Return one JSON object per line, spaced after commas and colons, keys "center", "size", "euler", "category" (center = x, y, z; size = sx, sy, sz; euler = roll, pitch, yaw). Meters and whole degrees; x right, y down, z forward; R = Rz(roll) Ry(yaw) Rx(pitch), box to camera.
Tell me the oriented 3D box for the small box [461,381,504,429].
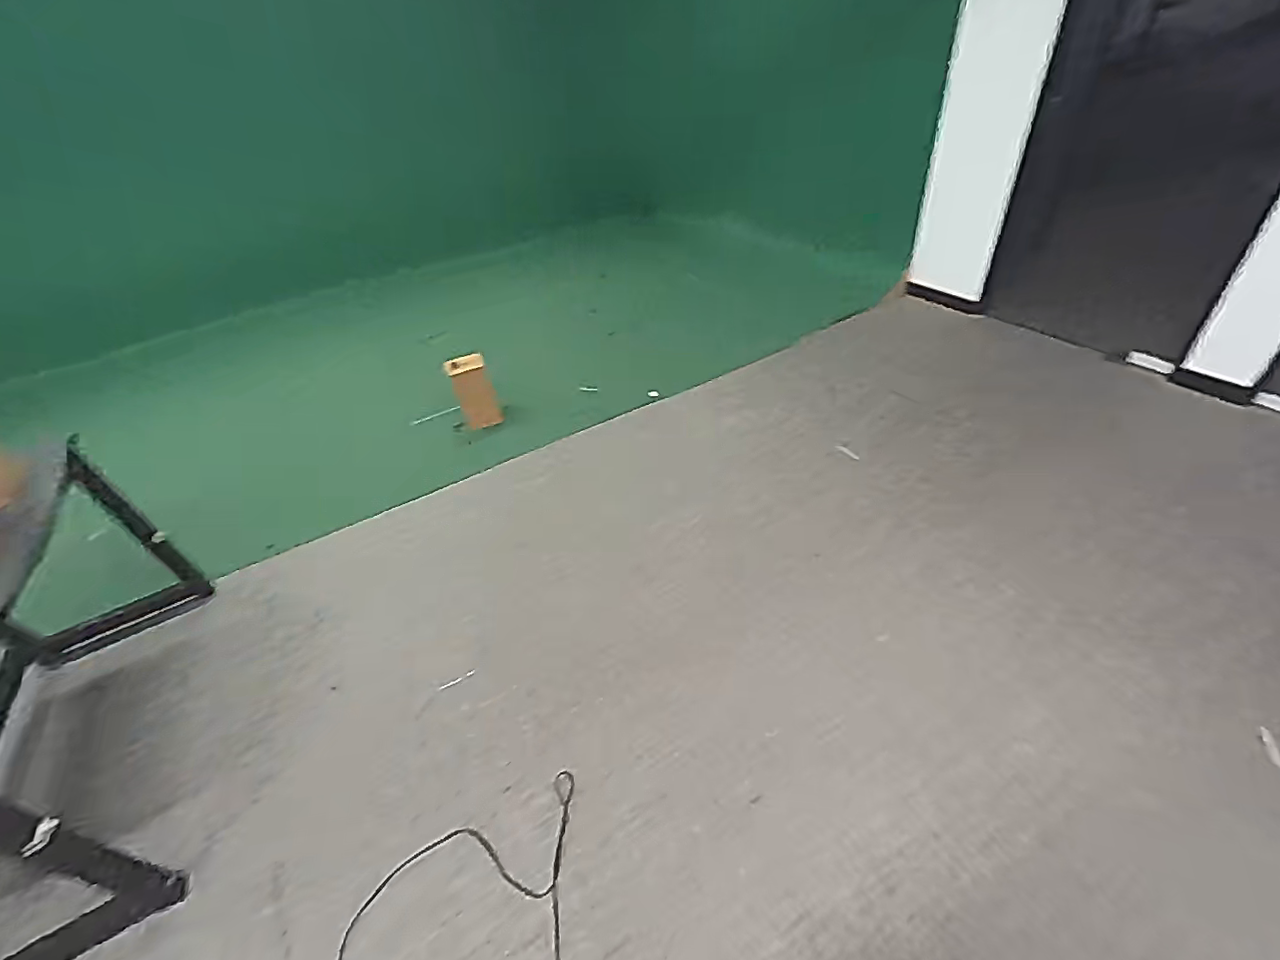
{"center": [-0.816, -0.384, 2.810], "size": [0.168, 0.176, 0.179], "euler": [-18, 41, -12], "category": "small box"}
